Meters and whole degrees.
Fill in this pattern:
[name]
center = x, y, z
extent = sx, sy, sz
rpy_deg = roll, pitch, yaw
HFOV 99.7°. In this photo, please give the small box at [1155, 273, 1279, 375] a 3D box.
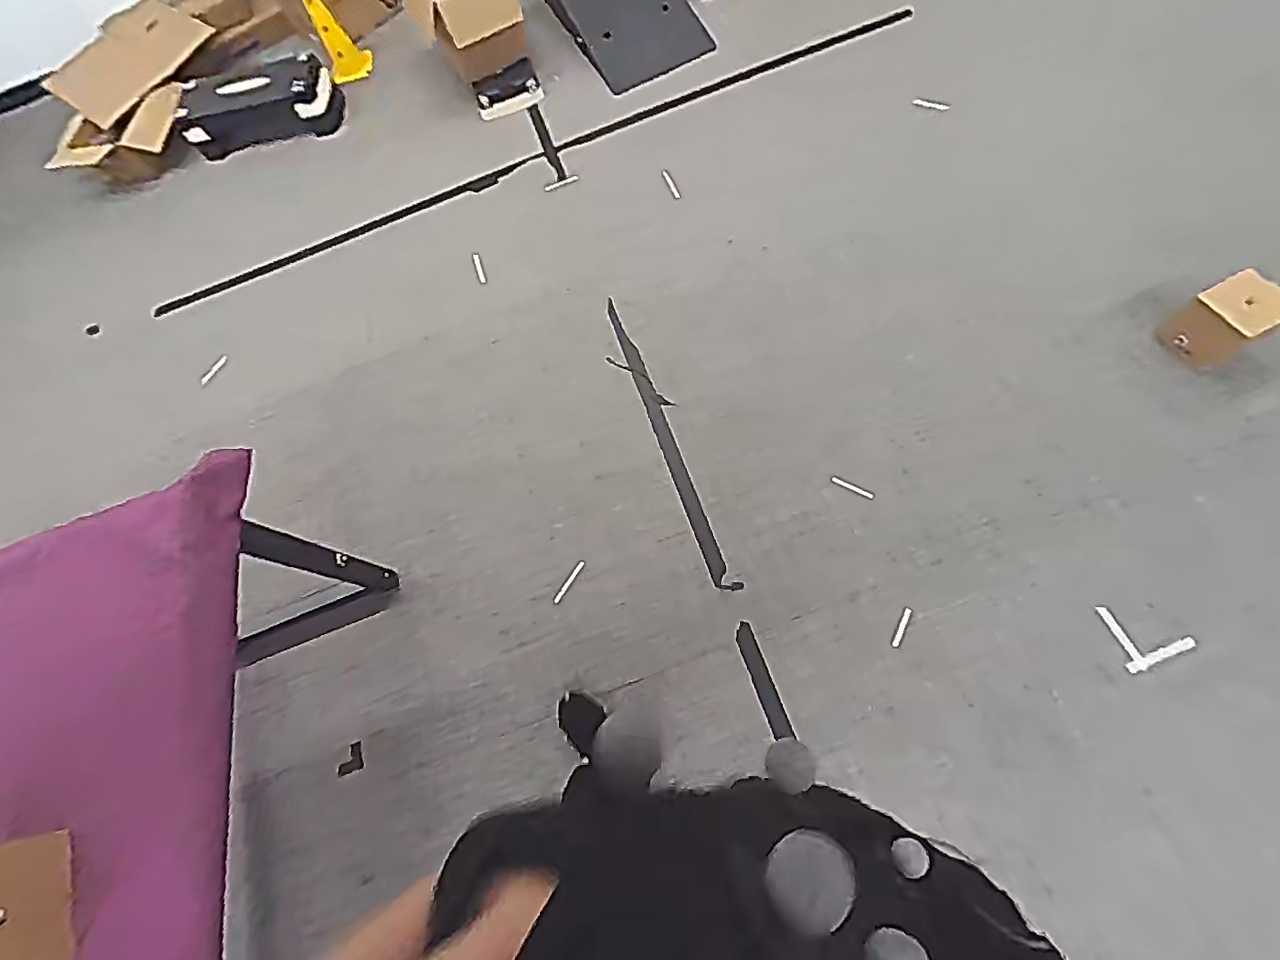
[small box]
center = 1.607, -0.425, 1.493
extent = 0.179, 0.176, 0.168
rpy_deg = -27, 67, -2
